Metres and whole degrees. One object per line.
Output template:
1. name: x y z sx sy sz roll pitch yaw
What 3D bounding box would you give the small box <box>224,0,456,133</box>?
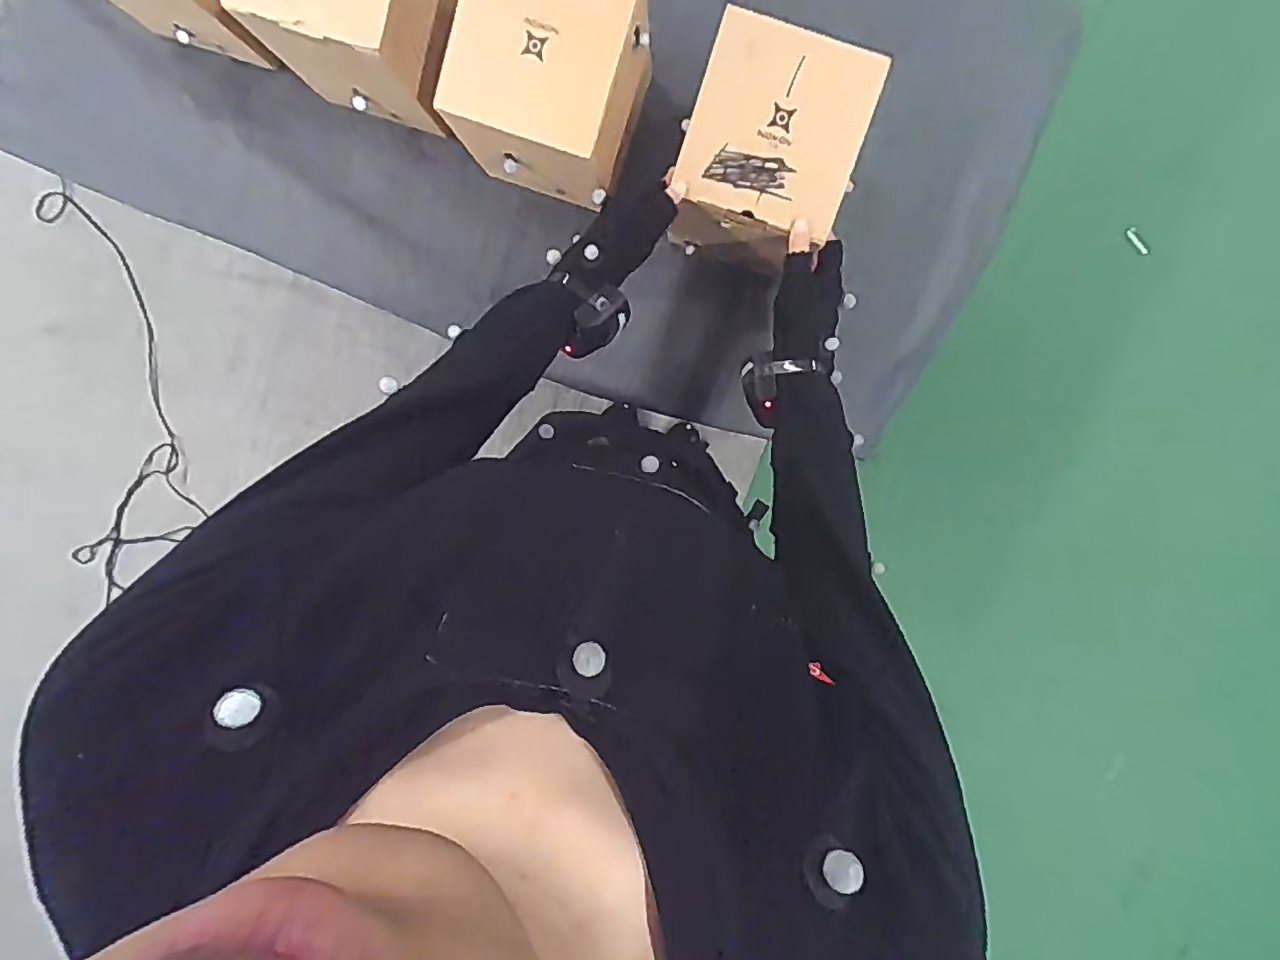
1. small box: -0.299 -0.527 0.587 0.168 0.176 0.179 18 99 0

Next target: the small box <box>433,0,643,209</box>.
1. small box: -0.097 -0.431 0.596 0.168 0.176 0.179 18 98 -1
